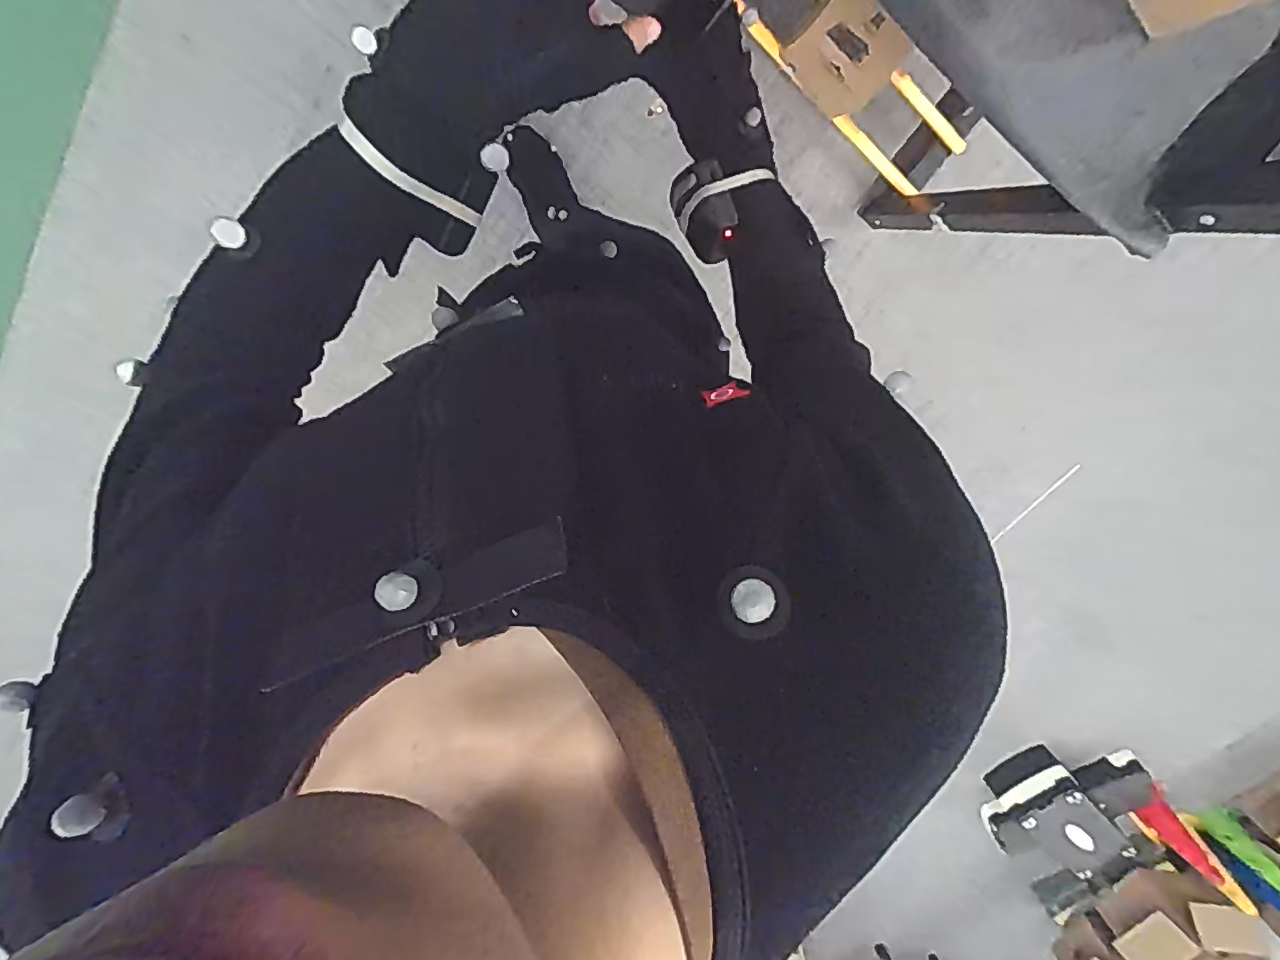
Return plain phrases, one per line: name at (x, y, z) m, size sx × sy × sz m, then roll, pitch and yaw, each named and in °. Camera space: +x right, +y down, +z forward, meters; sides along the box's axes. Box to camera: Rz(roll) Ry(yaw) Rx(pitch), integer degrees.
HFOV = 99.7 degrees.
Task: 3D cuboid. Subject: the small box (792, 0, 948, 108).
small box at (0.401, -0.822, 0.984) m, size 0.168 × 0.176 × 0.179 m, roll 36°, pitch 108°, yaw -20°
